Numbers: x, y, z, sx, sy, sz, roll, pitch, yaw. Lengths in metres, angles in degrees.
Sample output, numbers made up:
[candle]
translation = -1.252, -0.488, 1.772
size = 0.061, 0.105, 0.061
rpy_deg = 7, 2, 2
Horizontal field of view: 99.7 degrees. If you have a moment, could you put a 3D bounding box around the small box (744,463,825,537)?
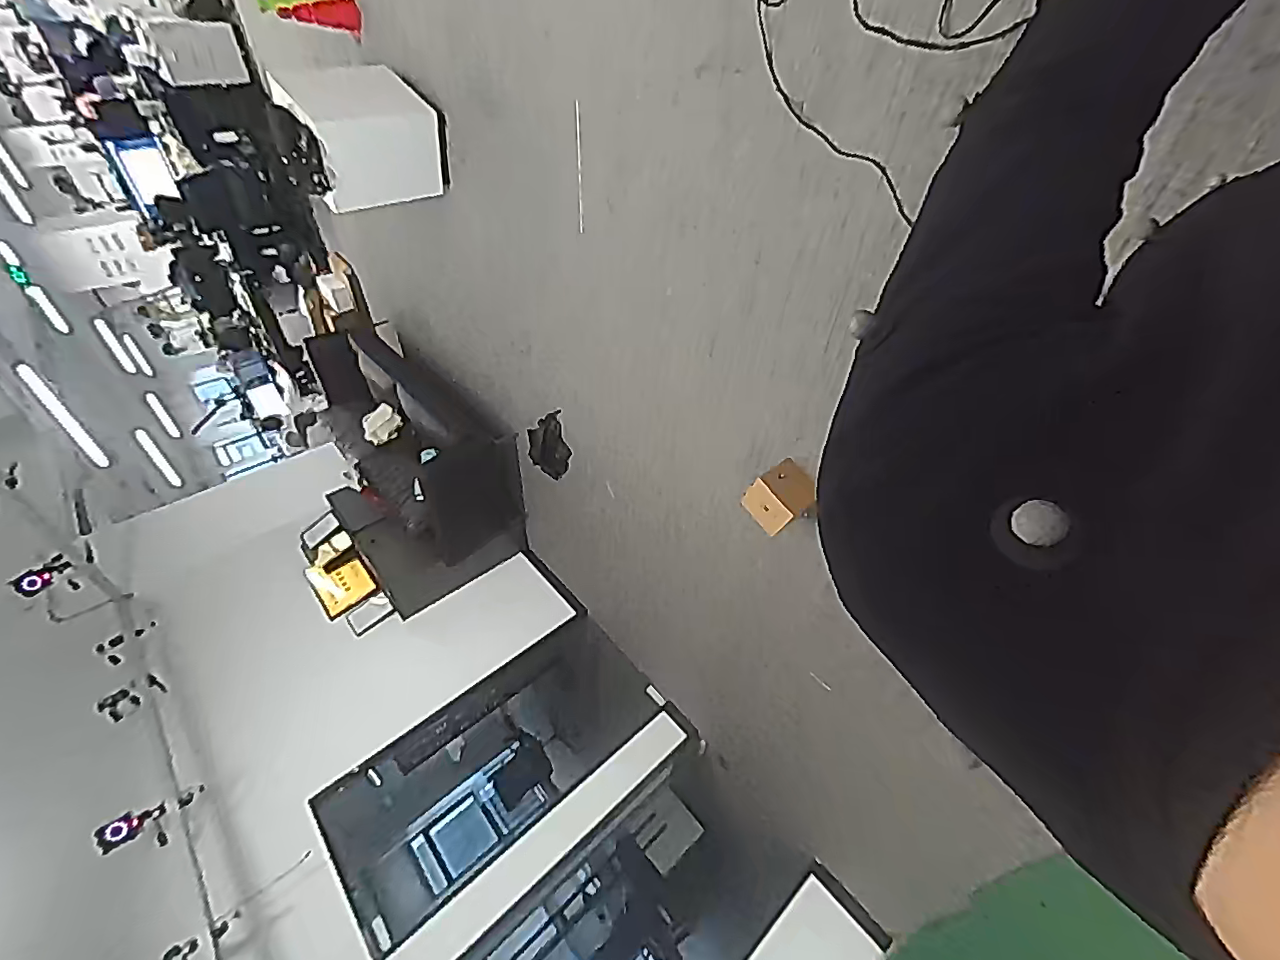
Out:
[small box]
translation = 0.500, 0.061, 1.878
size = 0.179, 0.176, 0.168
rpy_deg = 49, 149, 17
